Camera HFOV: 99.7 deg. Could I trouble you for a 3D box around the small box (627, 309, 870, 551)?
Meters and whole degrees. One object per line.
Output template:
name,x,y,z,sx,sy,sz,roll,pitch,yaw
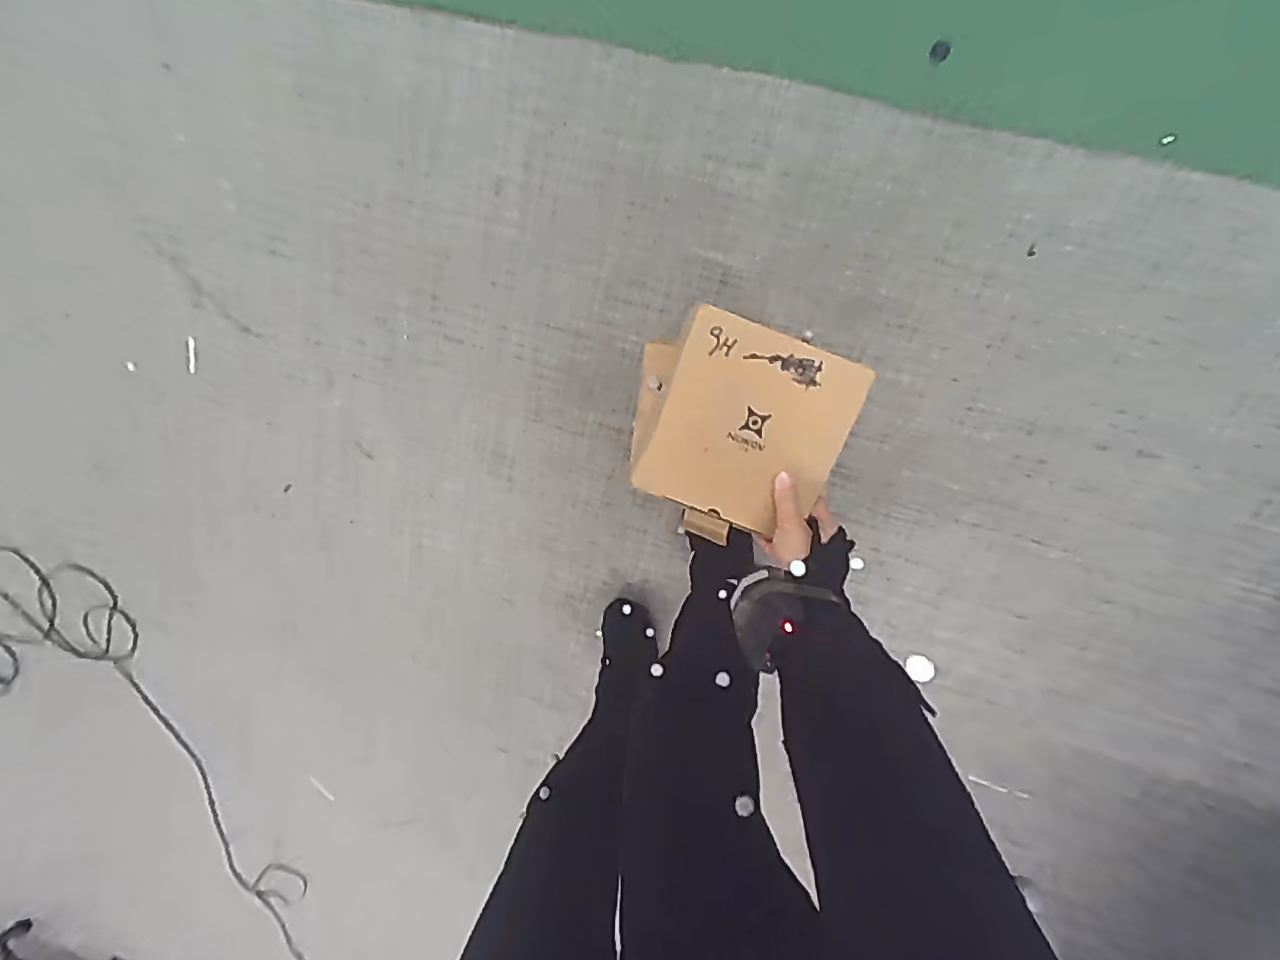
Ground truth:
small box,0.098,-0.059,0.559,0.168,0.176,0.179,21,104,-4

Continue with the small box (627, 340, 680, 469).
small box,0.085,-0.107,0.810,0.168,0.176,0.179,9,109,7
